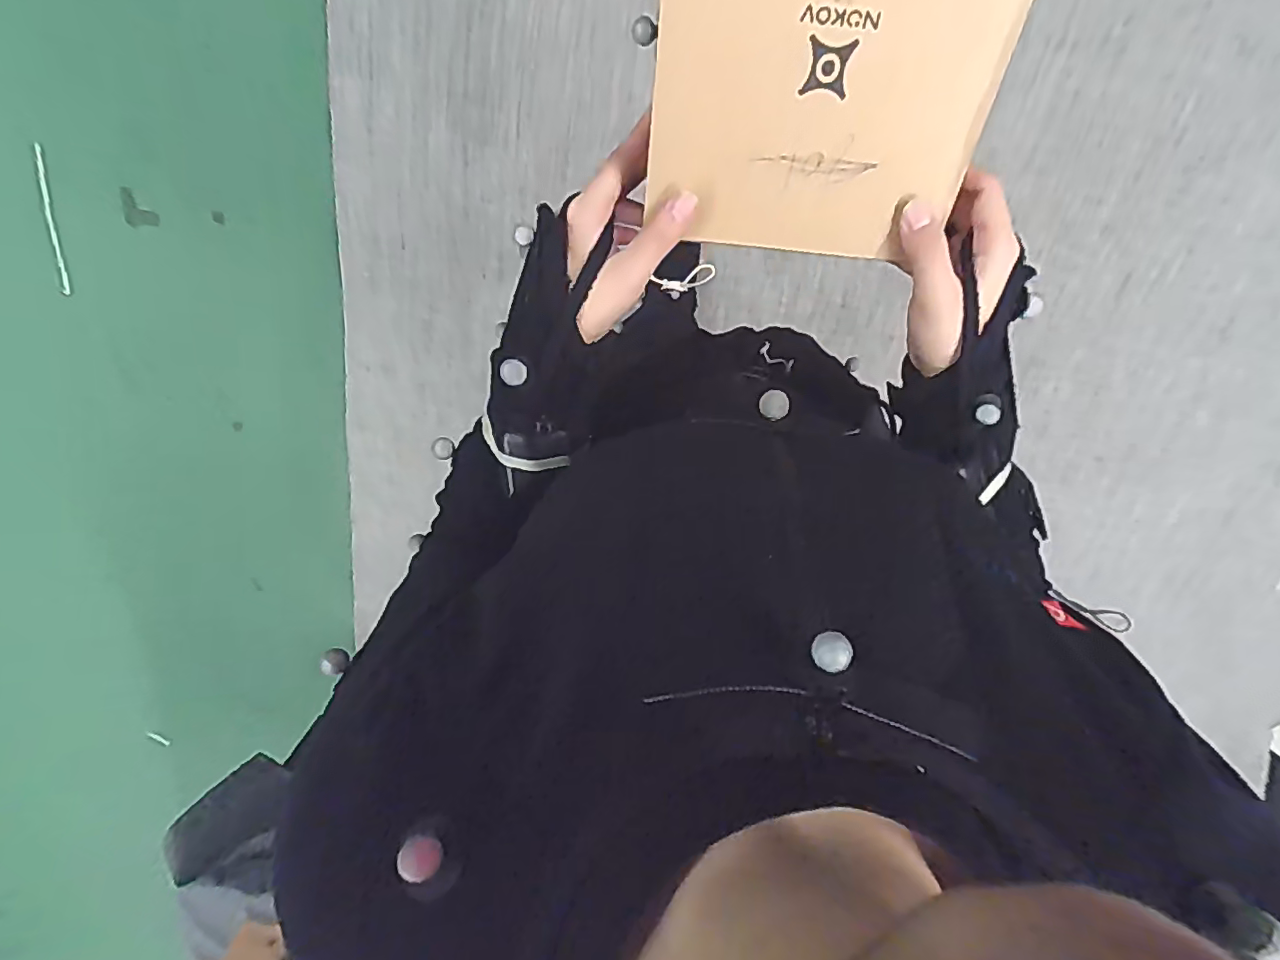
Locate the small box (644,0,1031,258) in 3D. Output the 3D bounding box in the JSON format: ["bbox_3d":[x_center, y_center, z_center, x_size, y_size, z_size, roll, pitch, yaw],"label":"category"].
[{"bbox_3d":[0.095,-0.250,0.317,0.168,0.176,0.179,7,127,0],"label":"small box"}]

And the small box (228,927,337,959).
[{"bbox_3d":[-0.649,0.925,0.930,0.168,0.176,0.179,13,111,-3],"label":"small box"}]
